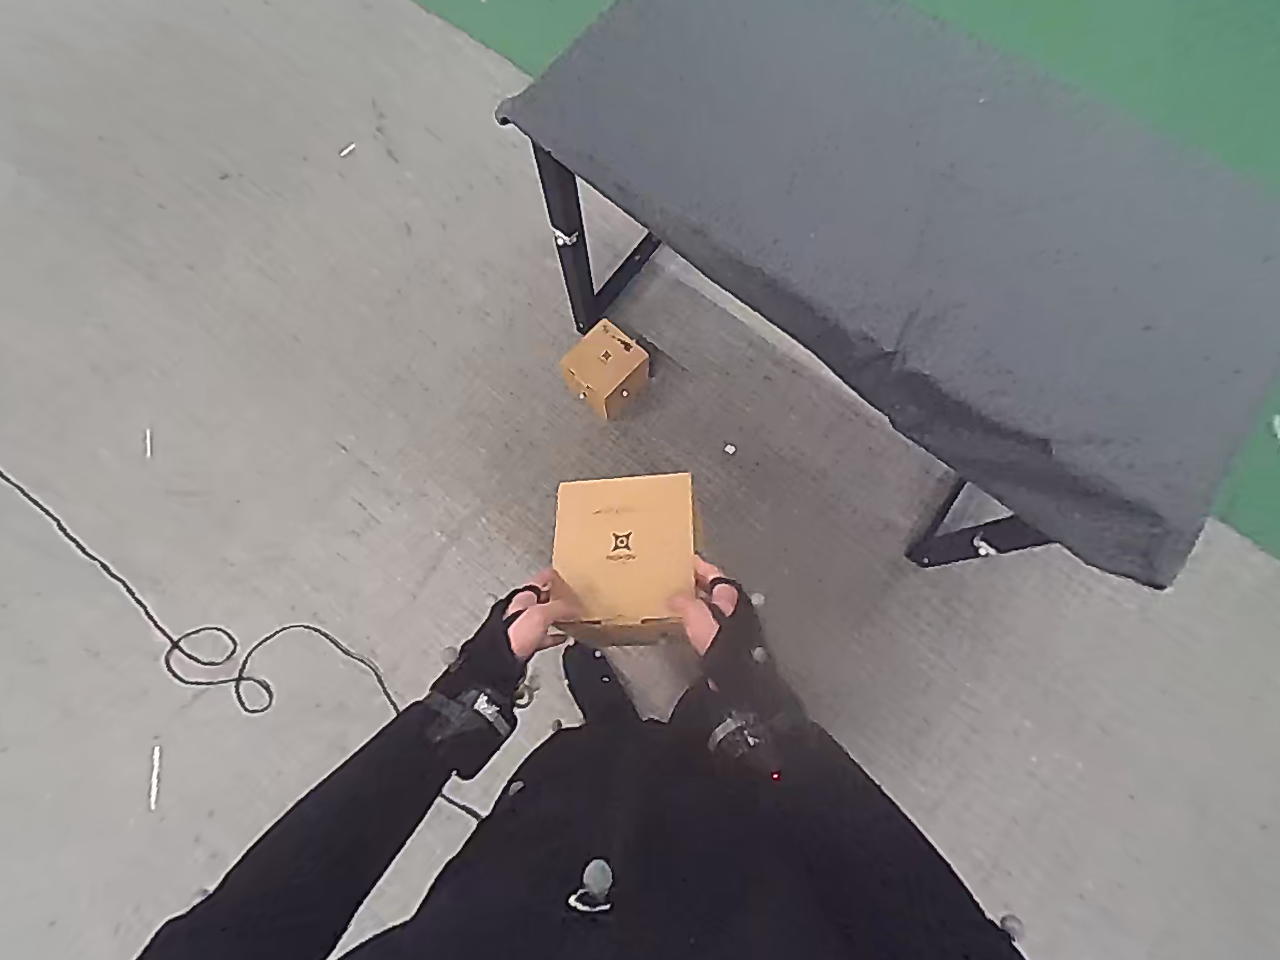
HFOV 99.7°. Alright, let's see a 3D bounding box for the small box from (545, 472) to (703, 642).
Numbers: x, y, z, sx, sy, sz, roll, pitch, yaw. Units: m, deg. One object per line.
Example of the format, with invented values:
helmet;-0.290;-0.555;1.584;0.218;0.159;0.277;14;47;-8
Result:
small box;-0.010;0.109;0.690;0.168;0.176;0.179;-4;63;10
